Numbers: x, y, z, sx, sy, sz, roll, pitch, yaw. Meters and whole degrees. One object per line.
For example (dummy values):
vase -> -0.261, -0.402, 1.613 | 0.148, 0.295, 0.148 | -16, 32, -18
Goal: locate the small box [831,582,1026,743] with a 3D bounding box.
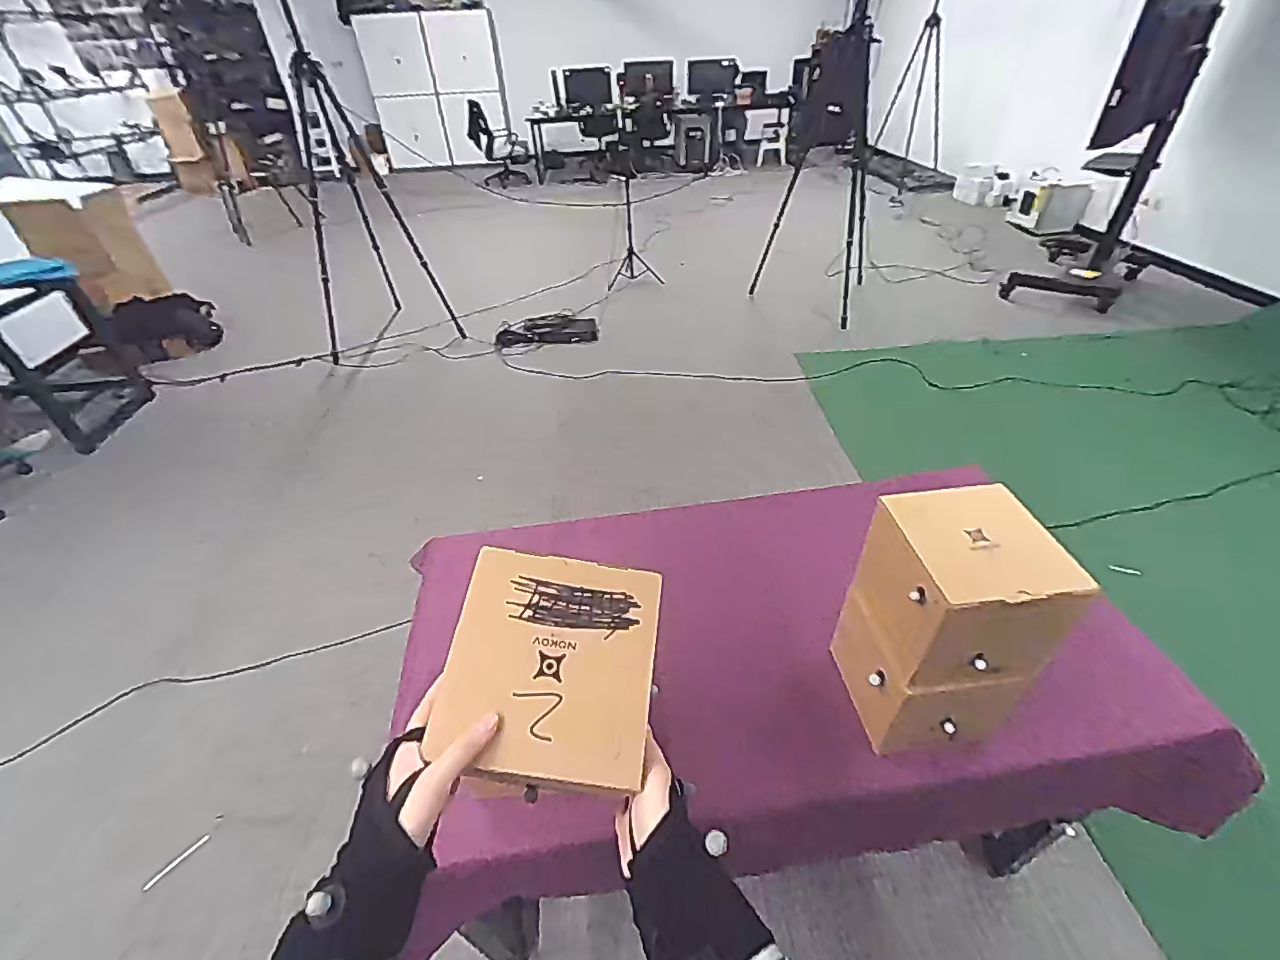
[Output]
small box -> 0.396, 0.258, 0.780 | 0.168, 0.176, 0.179 | -6, 39, -4

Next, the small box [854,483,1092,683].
small box -> 0.393, 0.128, 0.682 | 0.168, 0.176, 0.179 | -6, 41, -3

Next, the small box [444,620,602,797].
small box -> -0.147, 0.317, 0.749 | 0.179, 0.176, 0.168 | -4, 40, -2
